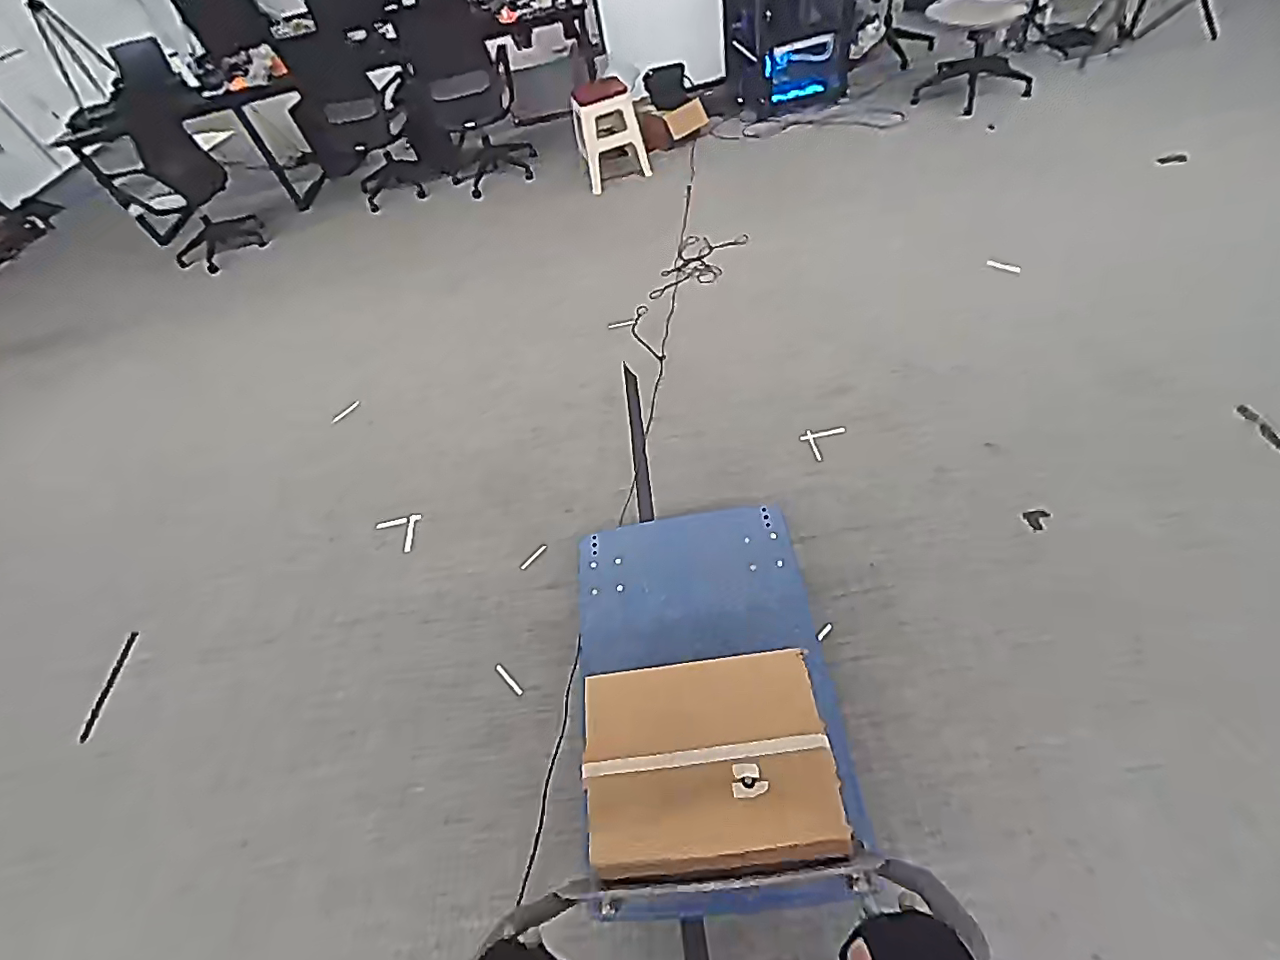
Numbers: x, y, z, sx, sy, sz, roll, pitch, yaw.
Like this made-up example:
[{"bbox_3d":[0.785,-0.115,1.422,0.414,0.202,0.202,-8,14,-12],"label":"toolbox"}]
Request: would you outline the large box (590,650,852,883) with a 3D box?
[{"bbox_3d":[0.137,0.556,1.039,0.408,0.320,0.320,-10,55,5],"label":"large box"}]
